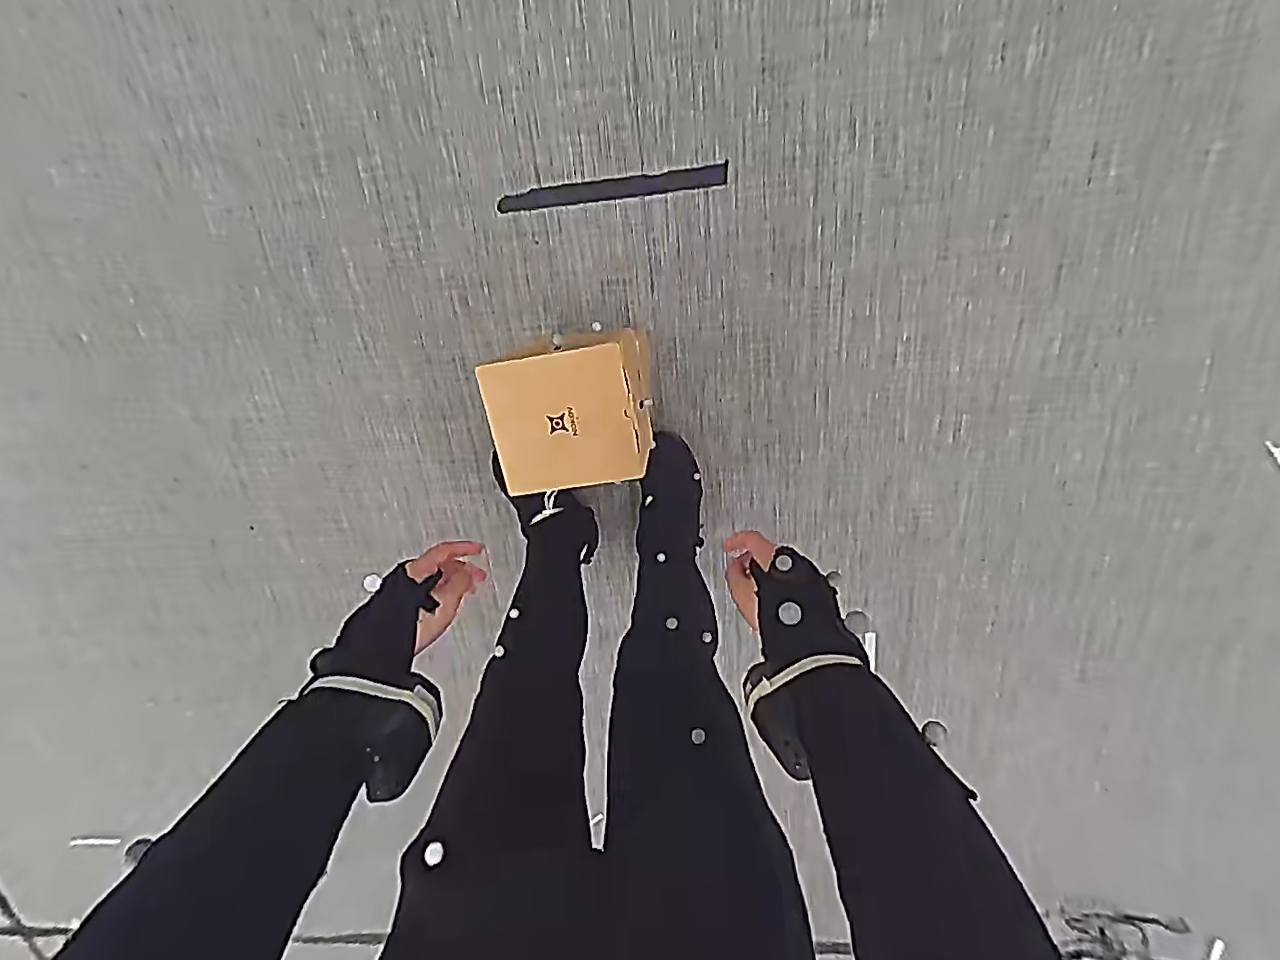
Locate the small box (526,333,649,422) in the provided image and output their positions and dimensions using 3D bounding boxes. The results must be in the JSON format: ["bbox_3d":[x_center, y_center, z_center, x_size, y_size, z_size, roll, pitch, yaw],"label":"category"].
[{"bbox_3d":[-0.073,-0.136,0.871,0.168,0.176,0.179,-2,109,4],"label":"small box"}]

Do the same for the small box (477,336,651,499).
[{"bbox_3d":[-0.087,-0.089,0.715,0.179,0.176,0.168,-9,109,7],"label":"small box"}]
